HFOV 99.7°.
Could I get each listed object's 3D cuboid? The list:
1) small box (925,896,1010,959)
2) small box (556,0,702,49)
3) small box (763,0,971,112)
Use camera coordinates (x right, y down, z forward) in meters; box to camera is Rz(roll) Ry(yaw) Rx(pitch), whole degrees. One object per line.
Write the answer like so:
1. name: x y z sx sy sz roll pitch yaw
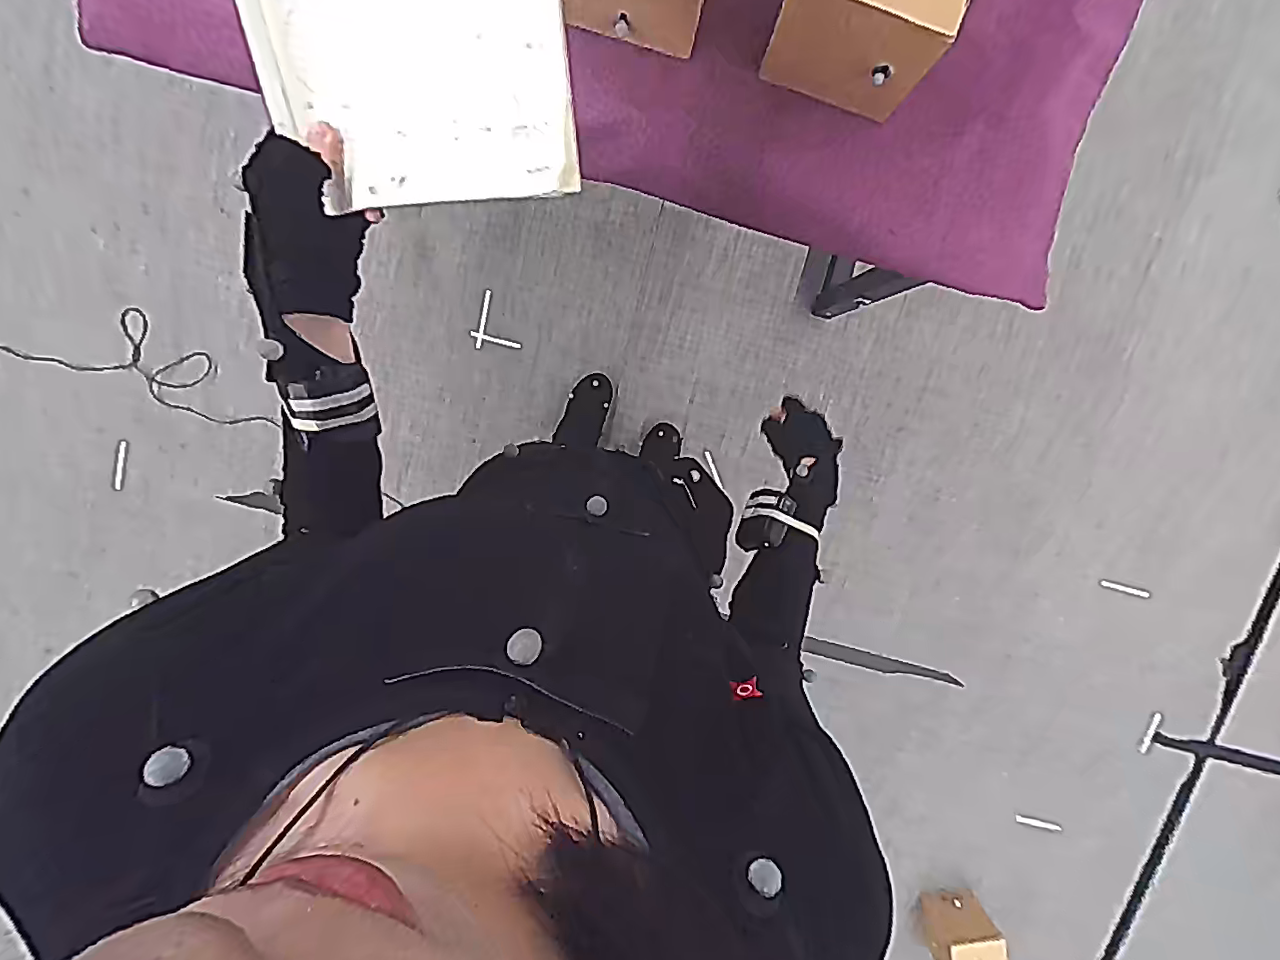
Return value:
1. small box: 1.009 1.443 1.672 0.168 0.176 0.179 -8 98 0
2. small box: 0.002 -0.620 0.587 0.179 0.176 0.168 14 98 -4
3. small box: 0.259 -0.555 0.604 0.179 0.176 0.168 17 96 -2
